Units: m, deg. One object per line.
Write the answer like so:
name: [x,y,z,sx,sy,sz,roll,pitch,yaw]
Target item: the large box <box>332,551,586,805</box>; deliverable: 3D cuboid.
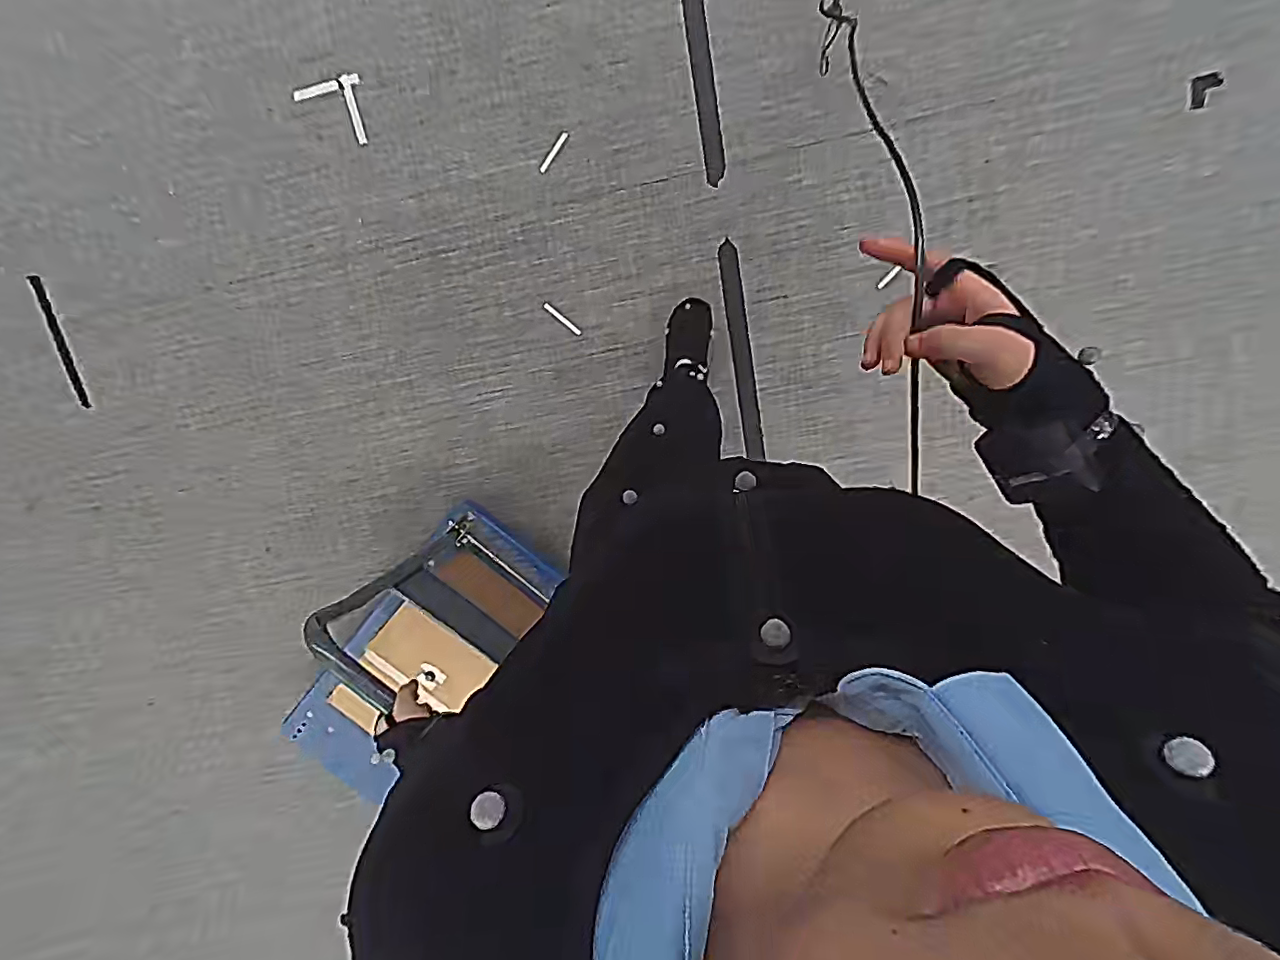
large box: [-0.391,0.438,1.266,0.408,0.320,0.320,40,99,-4]
